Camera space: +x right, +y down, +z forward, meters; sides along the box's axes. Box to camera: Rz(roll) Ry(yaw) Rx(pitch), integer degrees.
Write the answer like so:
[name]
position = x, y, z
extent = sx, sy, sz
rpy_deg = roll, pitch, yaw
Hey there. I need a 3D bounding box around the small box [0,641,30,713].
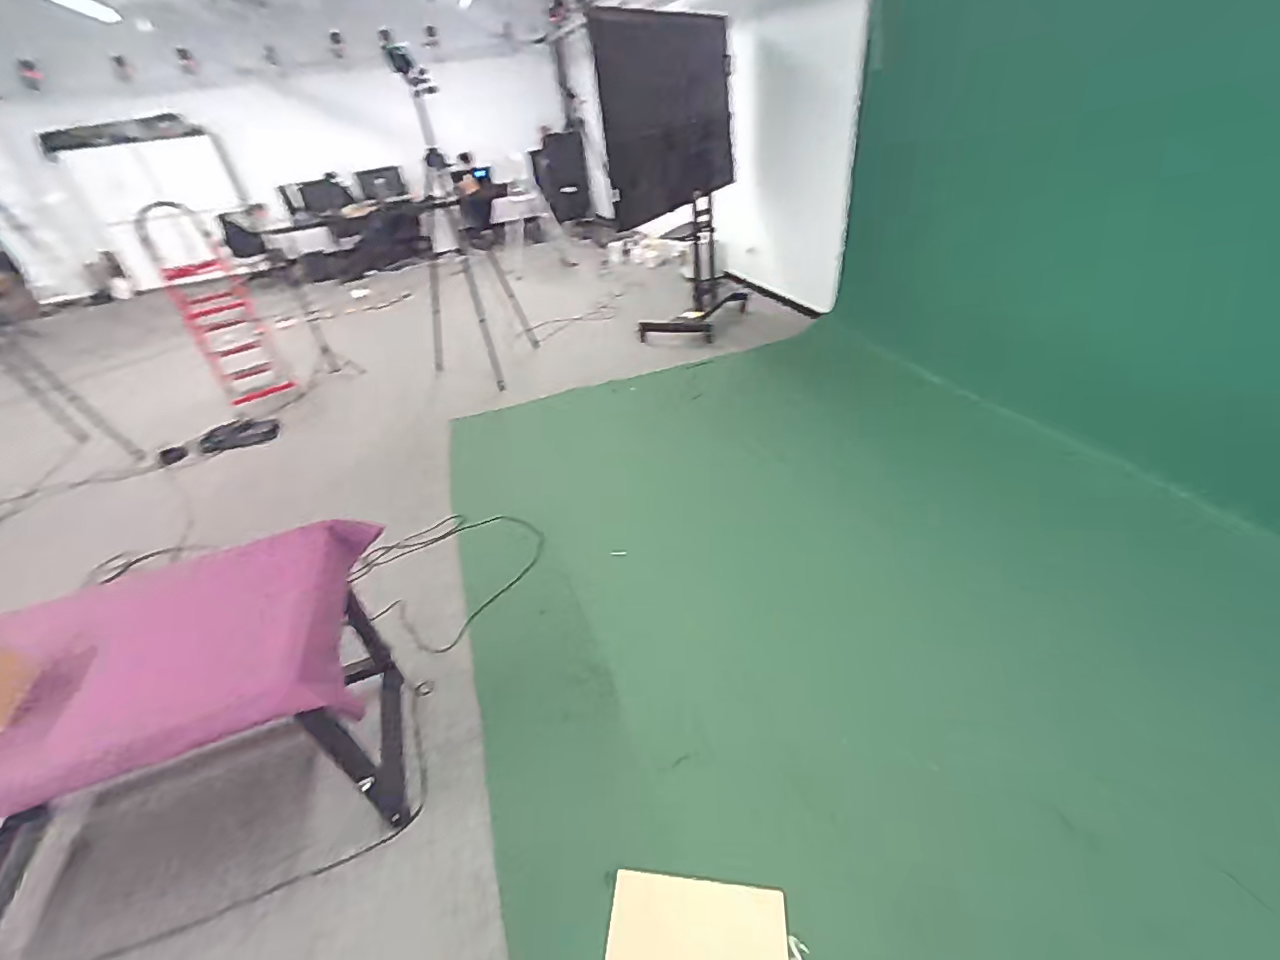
[small box]
position = -1.446, 0.424, 1.114
extent = 0.168, 0.176, 0.179
rpy_deg = -17, 36, -15
